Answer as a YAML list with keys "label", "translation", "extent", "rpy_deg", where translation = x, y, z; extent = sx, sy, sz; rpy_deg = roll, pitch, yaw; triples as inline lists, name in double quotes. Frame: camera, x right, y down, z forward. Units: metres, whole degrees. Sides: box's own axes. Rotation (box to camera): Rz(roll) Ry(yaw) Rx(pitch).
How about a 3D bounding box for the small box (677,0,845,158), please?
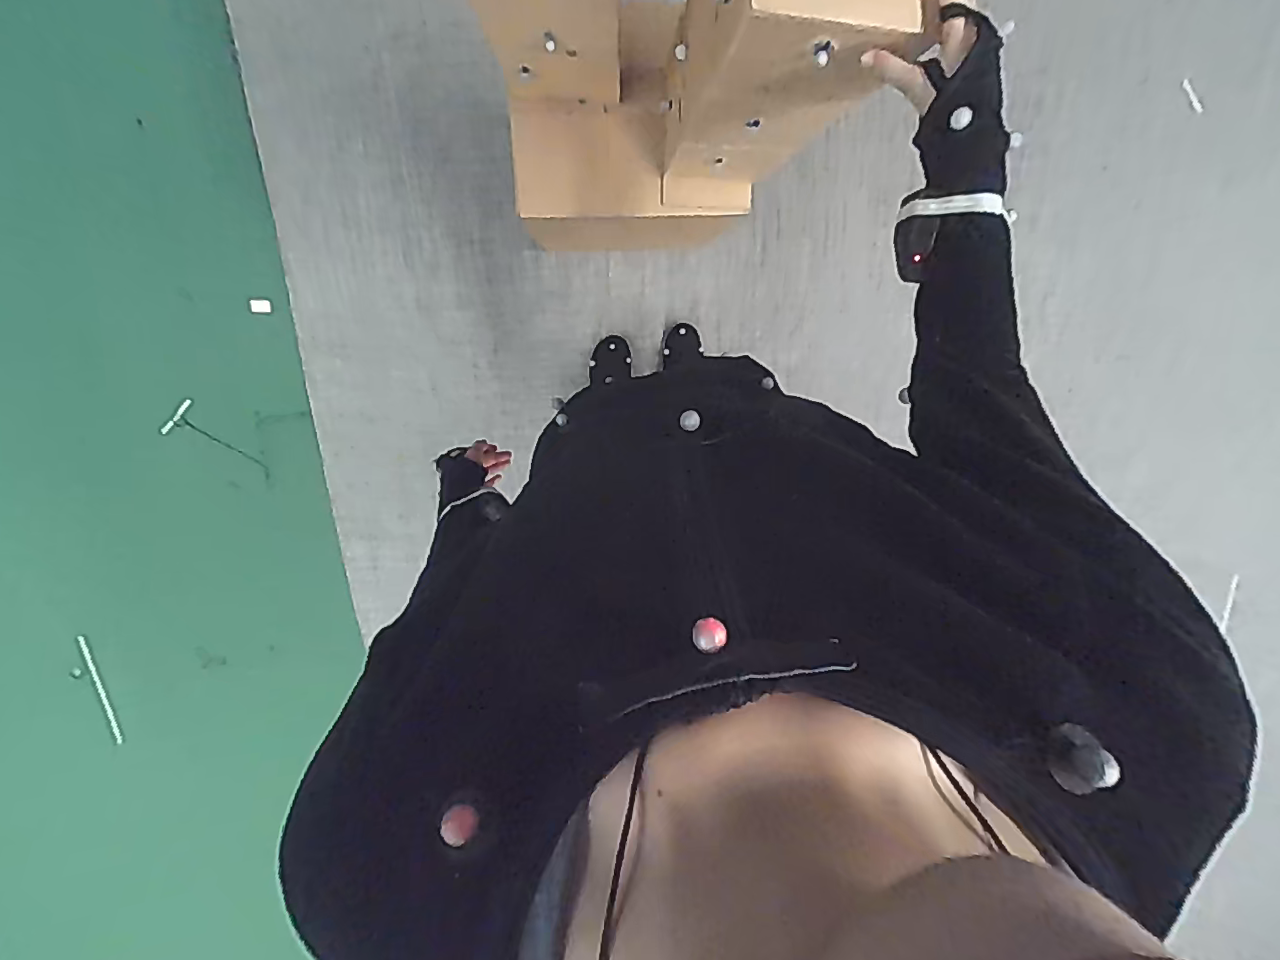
- label: "small box"
  translation: [0.148, -0.517, 0.670]
  extent: [0.179, 0.176, 0.168]
  rpy_deg: [1, 105, -4]

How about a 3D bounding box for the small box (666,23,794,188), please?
- label: "small box"
  translation: [0.133, -0.557, 0.828]
  extent: [0.179, 0.176, 0.168]
  rpy_deg: [0, 107, -3]
